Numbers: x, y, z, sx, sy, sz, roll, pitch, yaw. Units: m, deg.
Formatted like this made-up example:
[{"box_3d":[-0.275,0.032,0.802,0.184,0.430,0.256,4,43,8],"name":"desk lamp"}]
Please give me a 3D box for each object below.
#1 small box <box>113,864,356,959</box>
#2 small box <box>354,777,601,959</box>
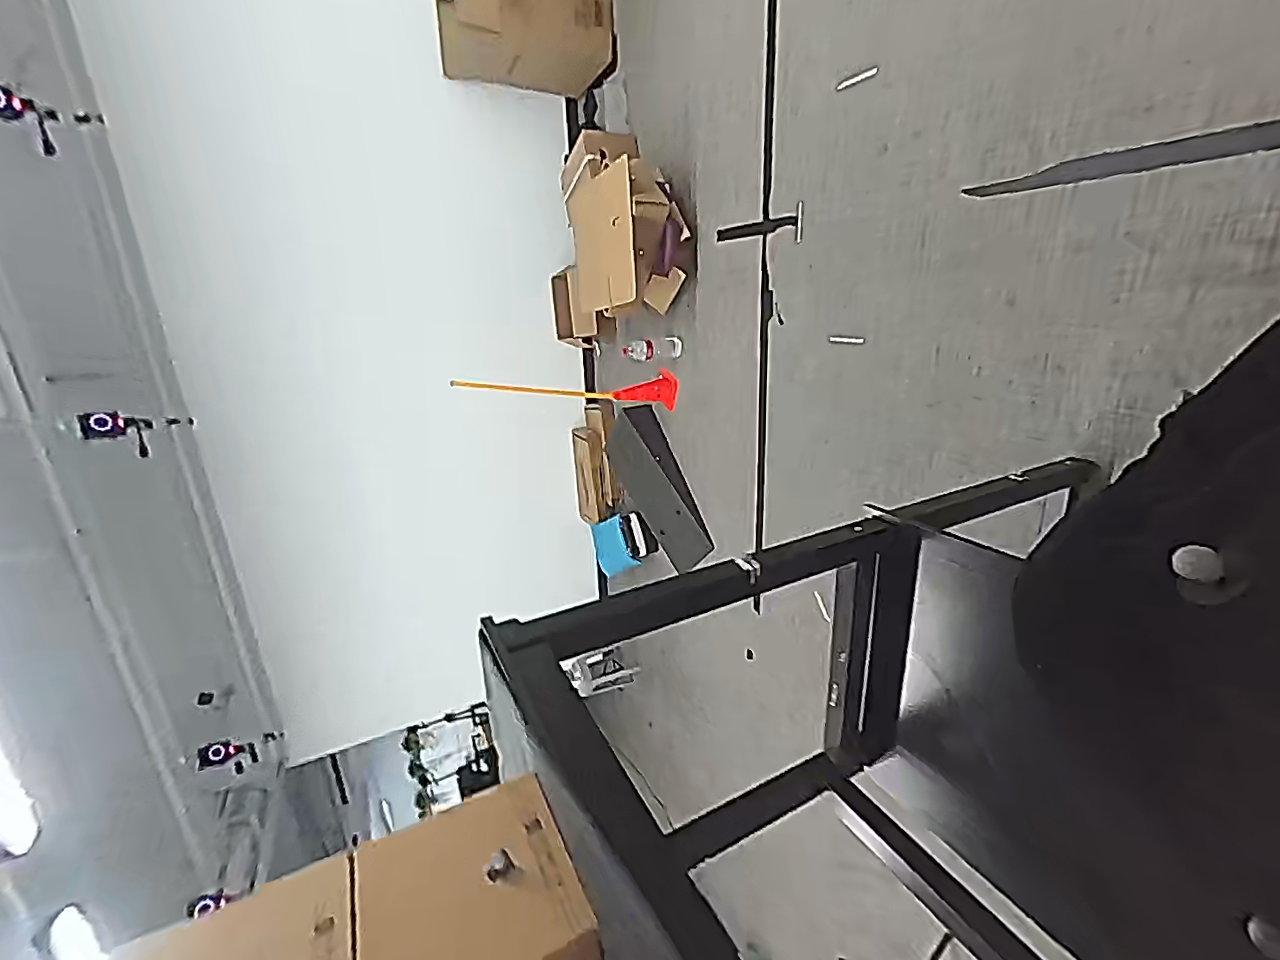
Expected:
[{"box_3d":[-0.283,0.444,0.403,0.168,0.176,0.179,33,130,57],"name":"small box"},{"box_3d":[-0.137,0.411,0.471,0.168,0.176,0.179,30,128,56],"name":"small box"}]
